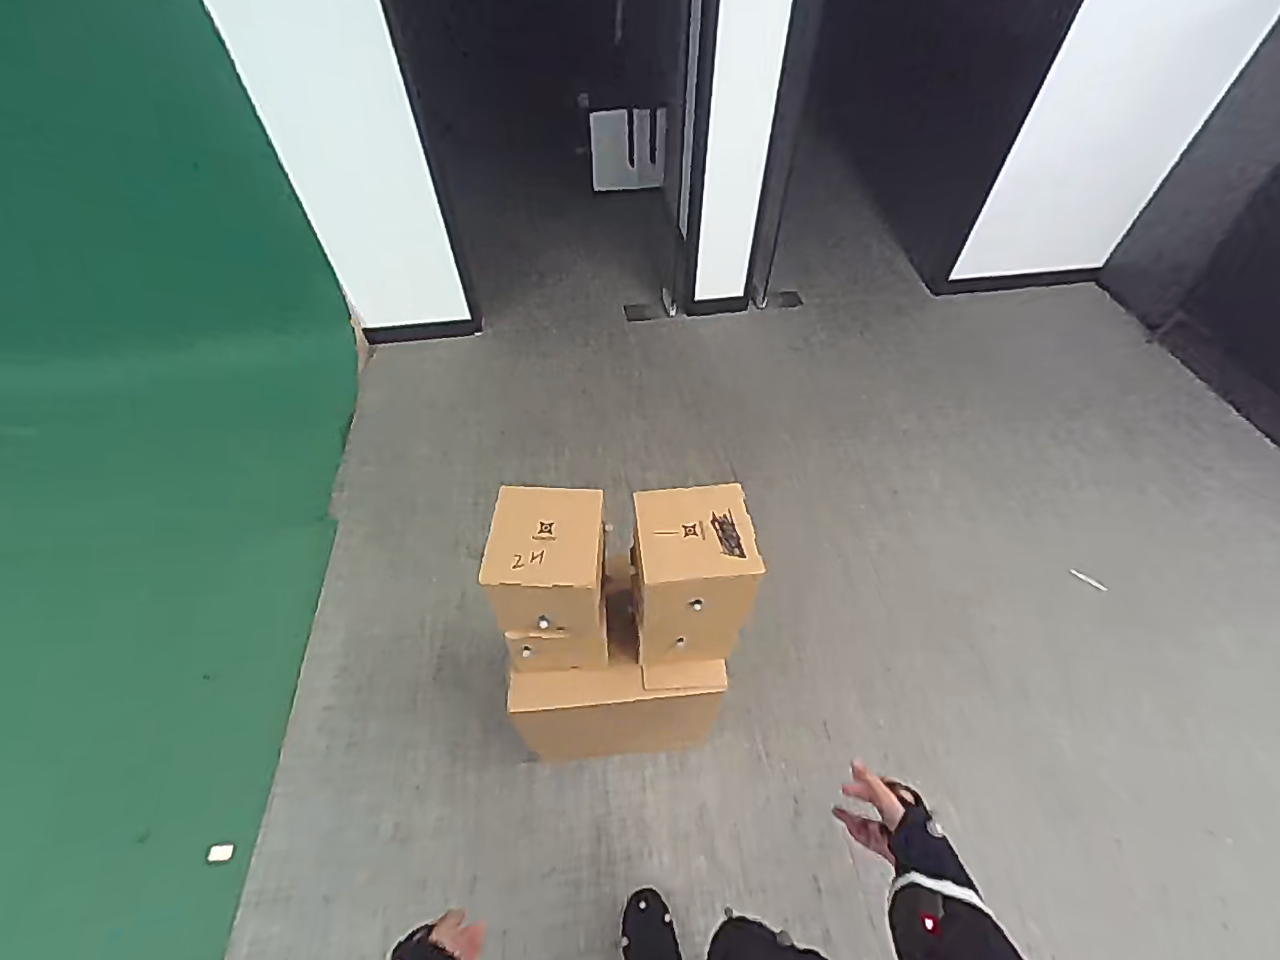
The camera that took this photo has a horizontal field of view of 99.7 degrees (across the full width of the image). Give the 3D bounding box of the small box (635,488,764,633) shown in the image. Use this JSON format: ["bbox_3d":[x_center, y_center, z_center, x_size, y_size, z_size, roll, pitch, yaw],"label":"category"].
[{"bbox_3d":[0.085,0.133,0.874,0.179,0.176,0.168,-6,52,-3],"label":"small box"}]
